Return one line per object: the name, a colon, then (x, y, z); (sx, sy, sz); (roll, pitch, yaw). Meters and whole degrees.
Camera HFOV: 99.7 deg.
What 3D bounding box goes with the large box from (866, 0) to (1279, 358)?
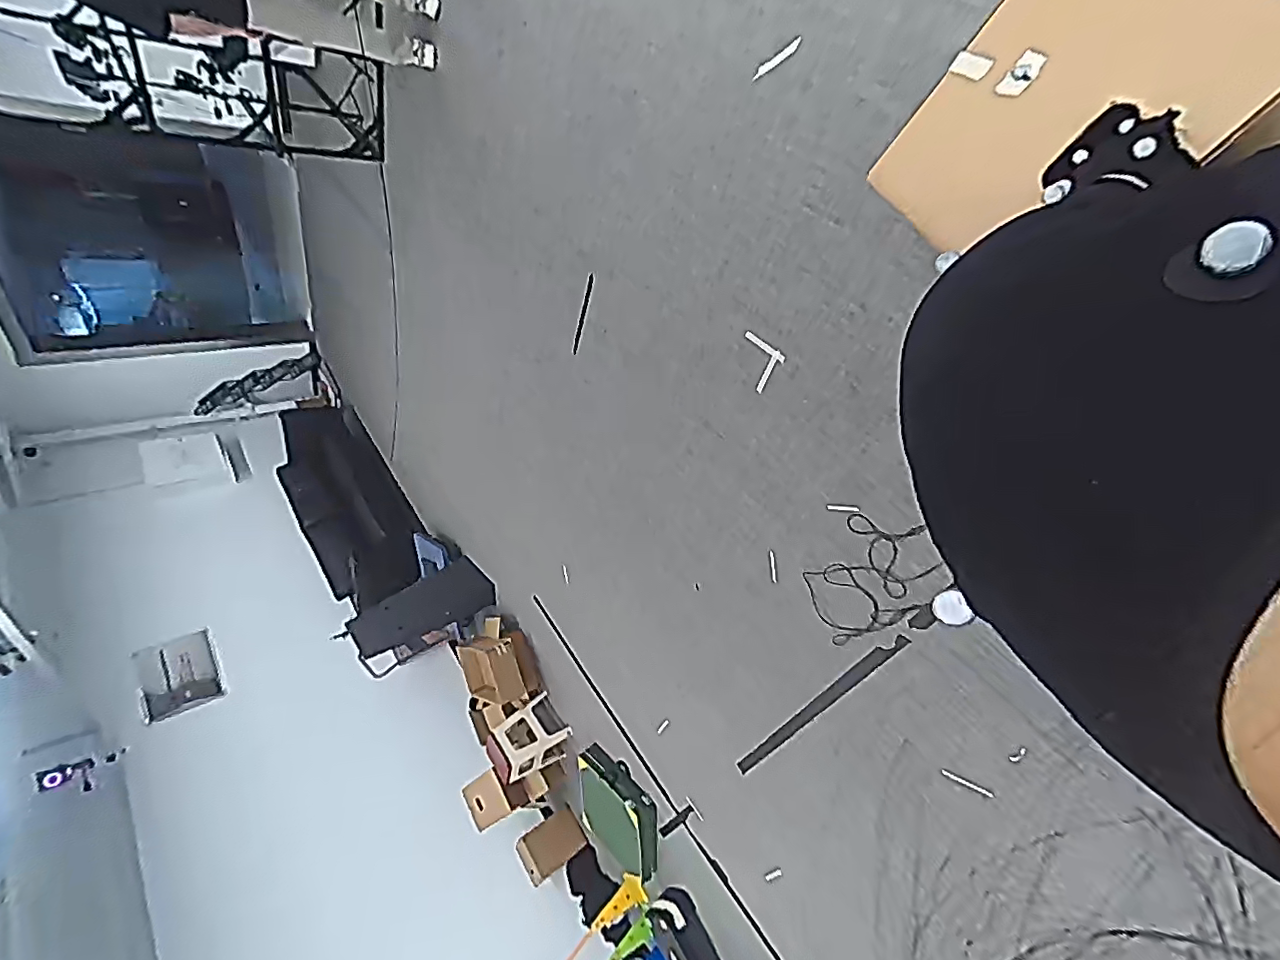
large box: (0.611, -0.406, 0.754); (0.320, 0.408, 0.320); (-51, 54, 39)
